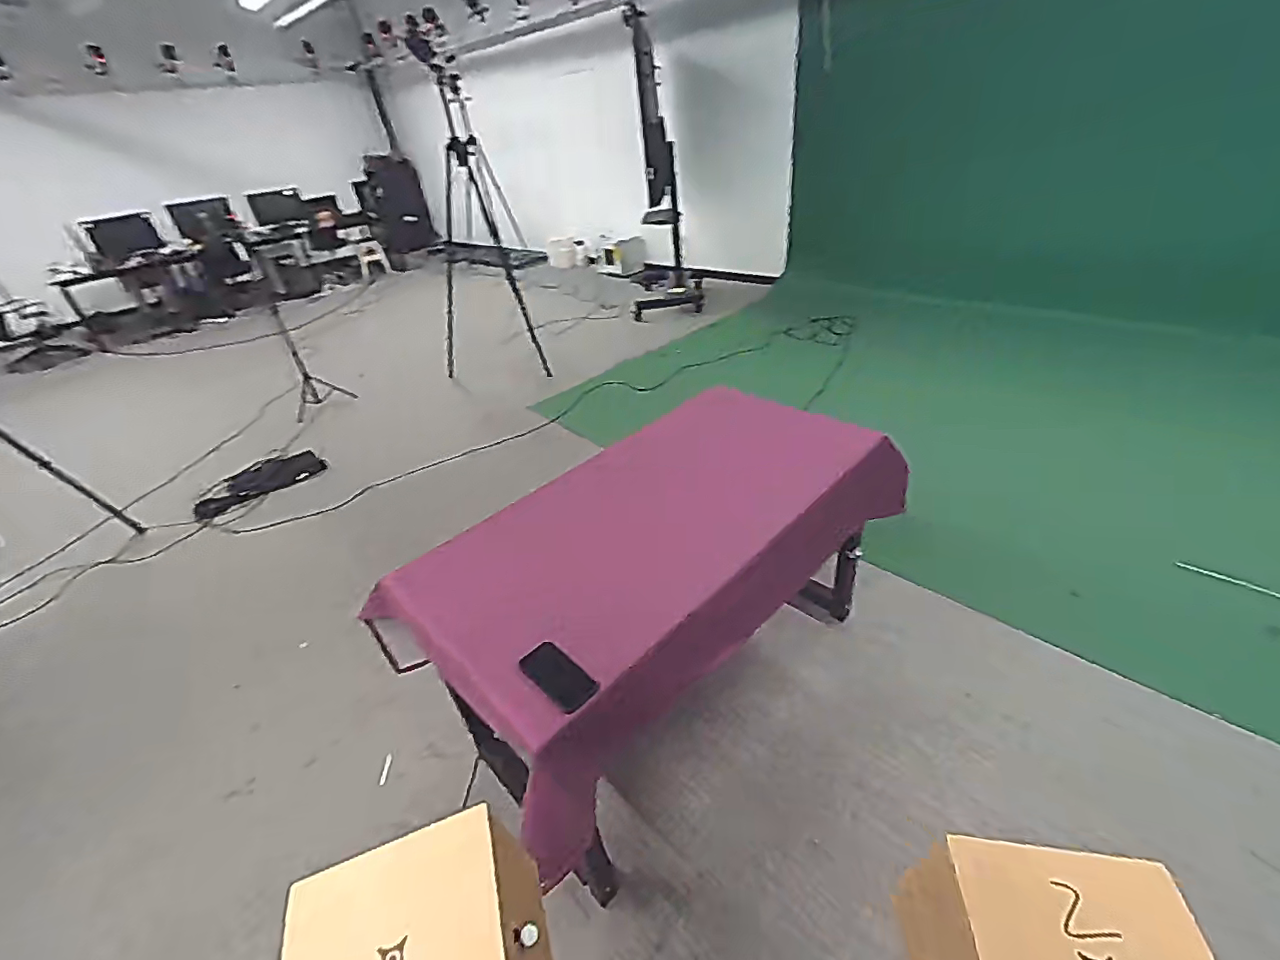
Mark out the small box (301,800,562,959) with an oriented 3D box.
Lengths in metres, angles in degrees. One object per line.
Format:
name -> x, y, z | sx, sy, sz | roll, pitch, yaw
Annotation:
small box -> -0.164, 0.419, 0.458 | 0.168, 0.176, 0.179 | -18, 41, -10
